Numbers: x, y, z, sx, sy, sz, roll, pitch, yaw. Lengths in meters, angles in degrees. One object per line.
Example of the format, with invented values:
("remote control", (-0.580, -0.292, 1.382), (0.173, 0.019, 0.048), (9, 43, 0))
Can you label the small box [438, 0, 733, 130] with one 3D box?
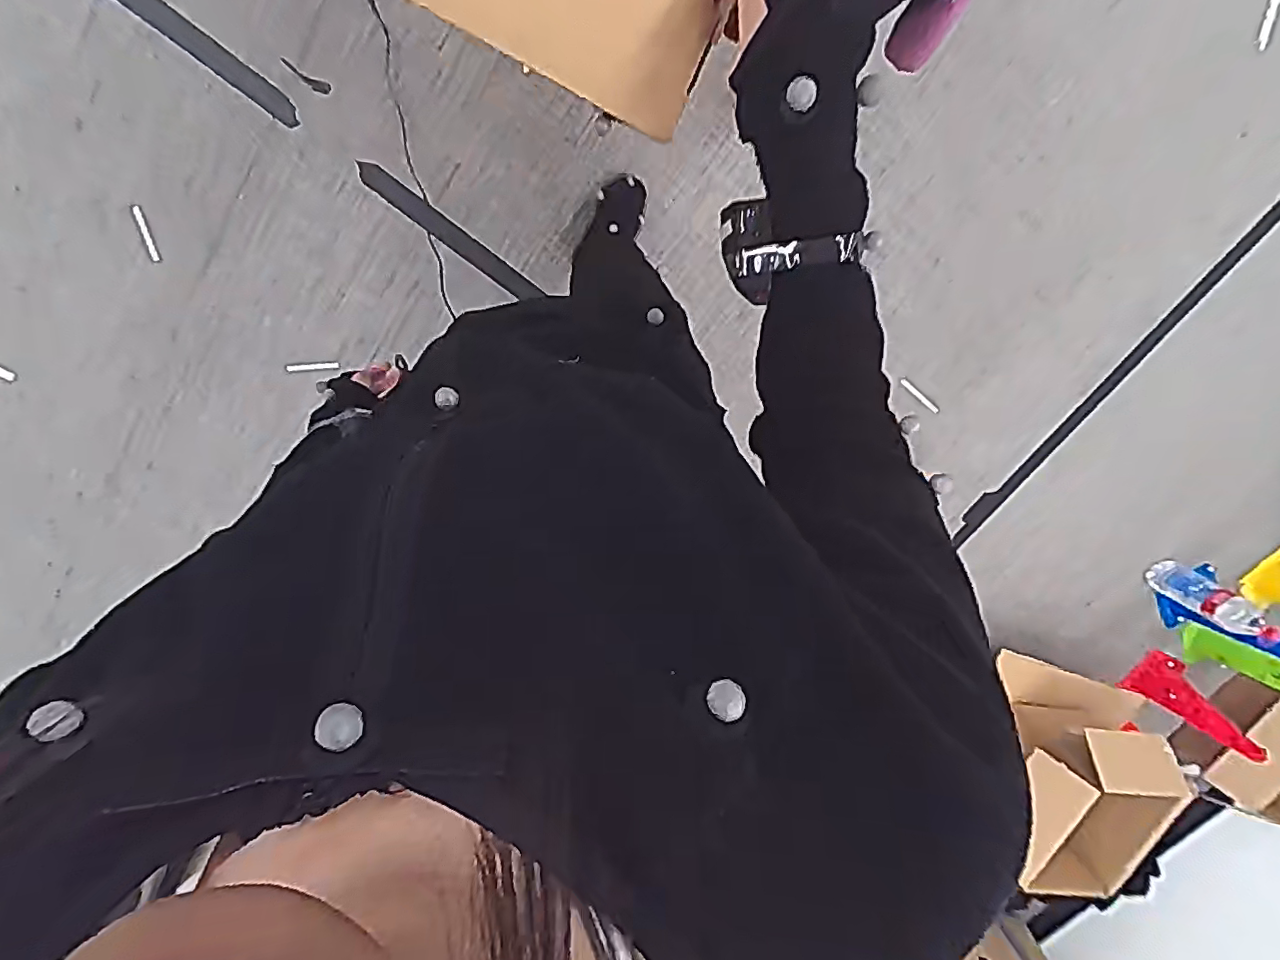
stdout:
("small box", (-0.036, -0.359, 0.342), (0.179, 0.176, 0.168), (13, 124, -27))
